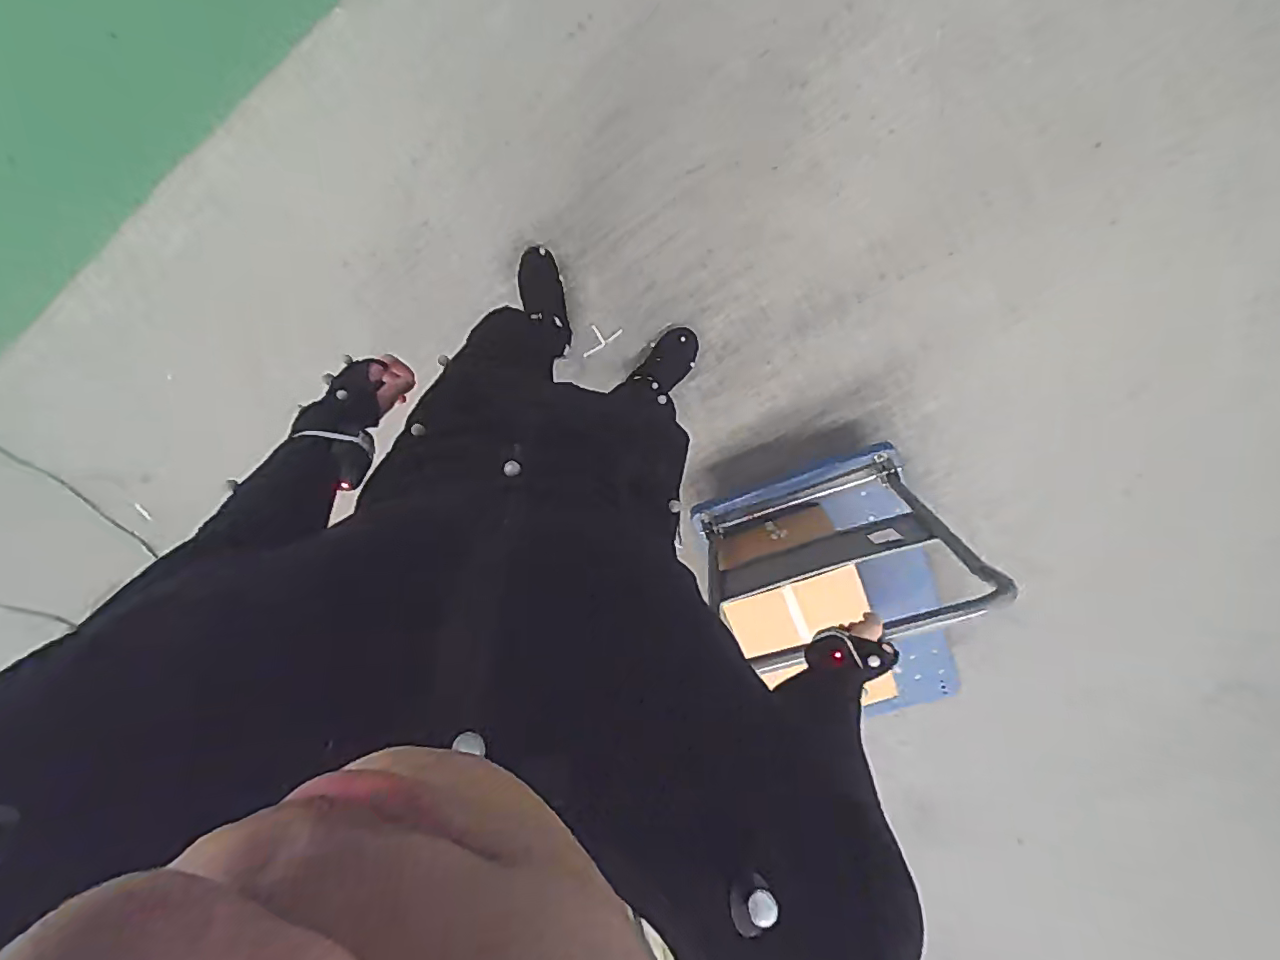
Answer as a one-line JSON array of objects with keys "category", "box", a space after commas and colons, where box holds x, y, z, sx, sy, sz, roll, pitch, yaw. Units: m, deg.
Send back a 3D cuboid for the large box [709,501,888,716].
[{"category": "large box", "box": [0.401, 0.329, 1.430, 0.320, 0.320, 0.408, -20, 111, 13]}]
